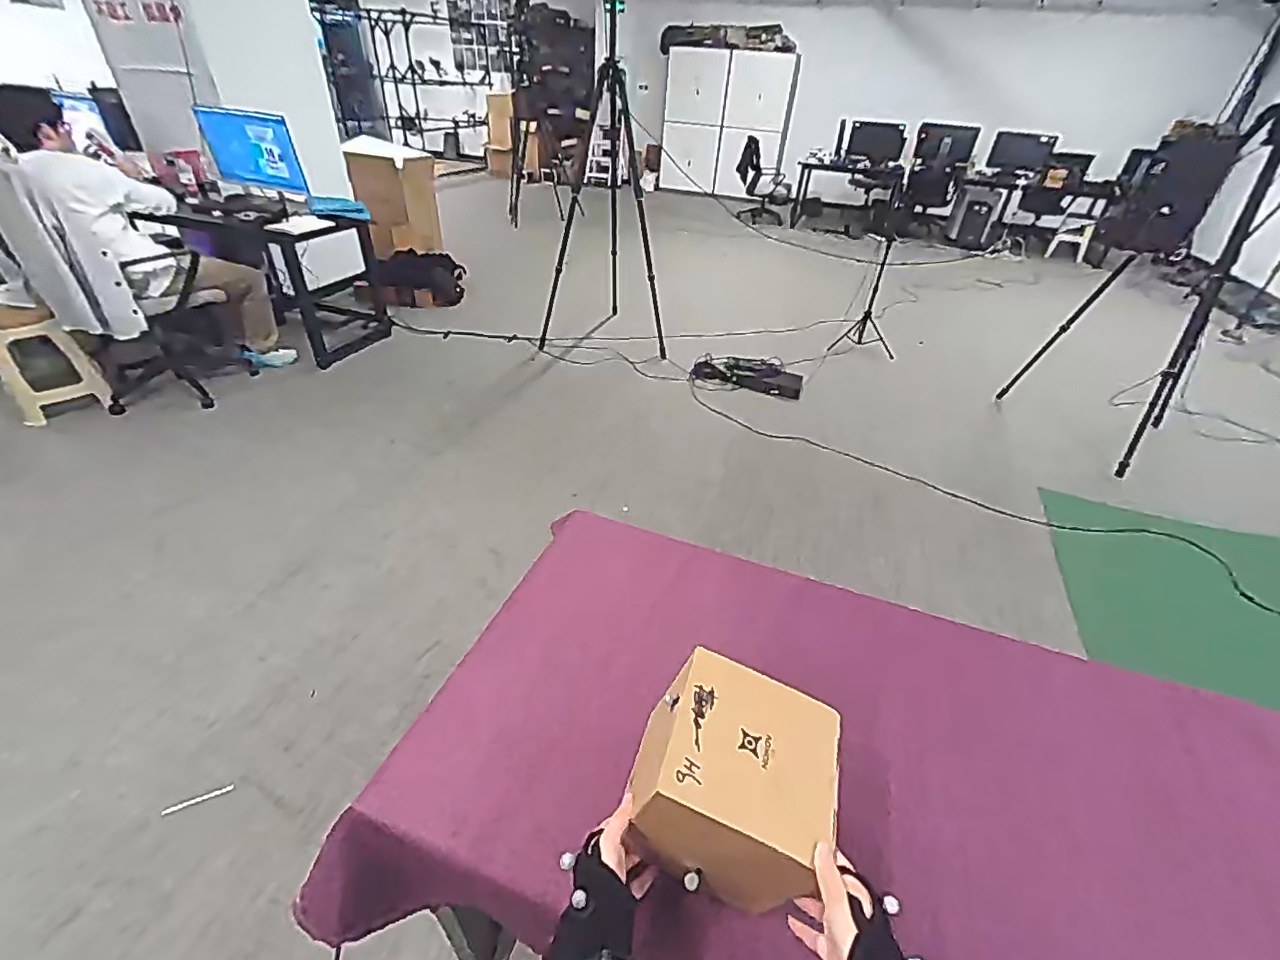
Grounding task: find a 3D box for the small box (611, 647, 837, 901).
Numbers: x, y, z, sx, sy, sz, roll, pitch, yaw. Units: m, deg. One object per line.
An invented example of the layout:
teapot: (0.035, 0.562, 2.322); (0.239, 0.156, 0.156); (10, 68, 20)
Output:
small box: (0.091, 0.325, 0.593); (0.179, 0.176, 0.168); (26, 39, 2)
